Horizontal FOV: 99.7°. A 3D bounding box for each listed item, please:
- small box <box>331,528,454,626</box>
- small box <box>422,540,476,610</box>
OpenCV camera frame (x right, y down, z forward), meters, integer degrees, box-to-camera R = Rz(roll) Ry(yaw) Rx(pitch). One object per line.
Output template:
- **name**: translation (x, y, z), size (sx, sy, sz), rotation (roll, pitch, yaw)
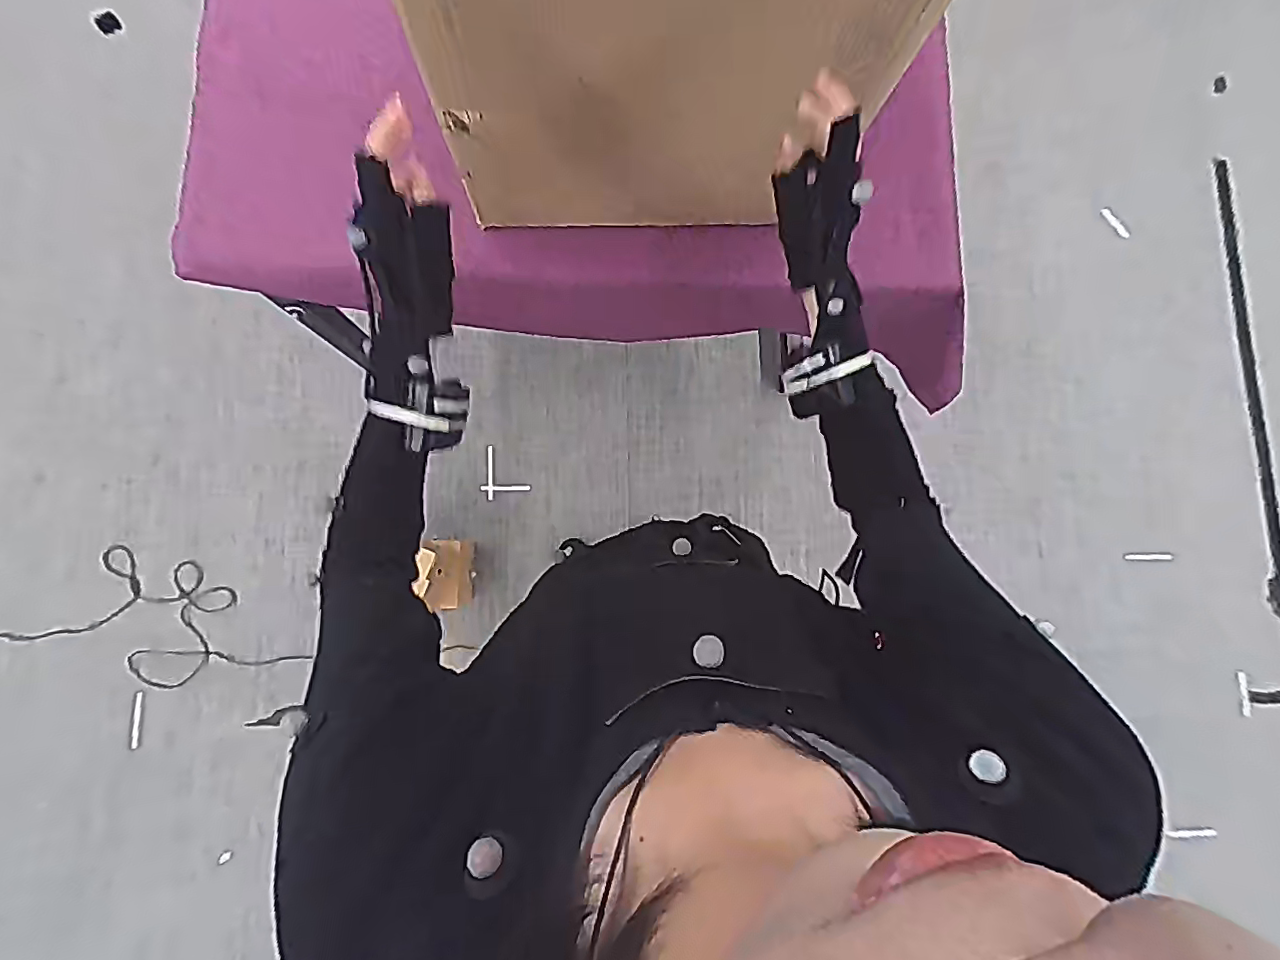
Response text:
- **small box**: translation (-0.548, 0.214, 1.226), size (0.179, 0.176, 0.168), rotation (21, 81, -1)
- **small box**: translation (-0.532, 0.239, 1.388), size (0.179, 0.176, 0.168), rotation (2, 84, -5)
